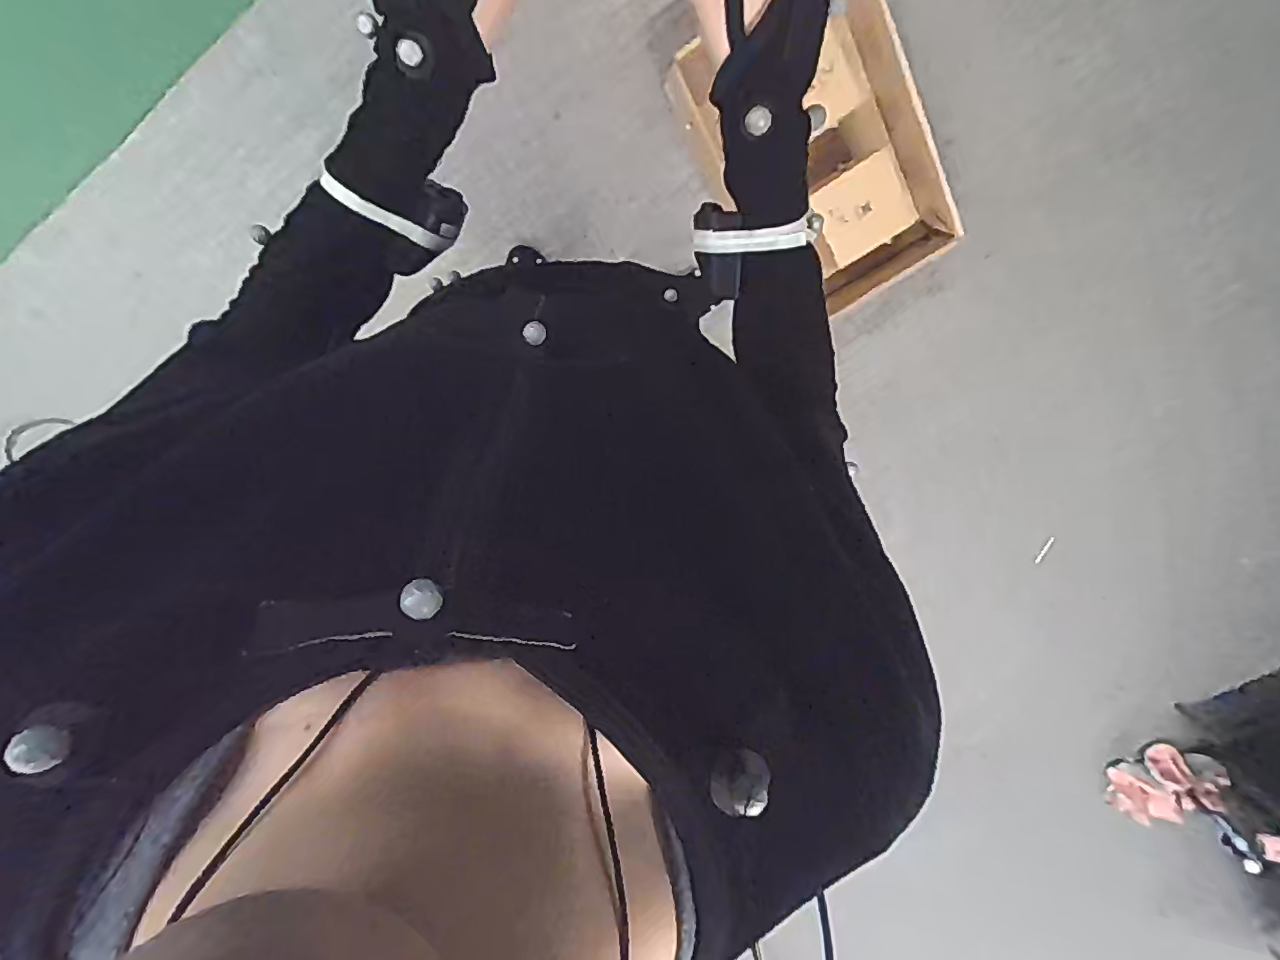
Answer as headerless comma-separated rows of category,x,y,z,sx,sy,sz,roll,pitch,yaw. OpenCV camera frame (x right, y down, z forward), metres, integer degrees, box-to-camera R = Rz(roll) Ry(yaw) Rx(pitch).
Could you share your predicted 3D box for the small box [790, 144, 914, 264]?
small box,0.457,-0.599,1.189,0.179,0.176,0.168,-29,110,11
